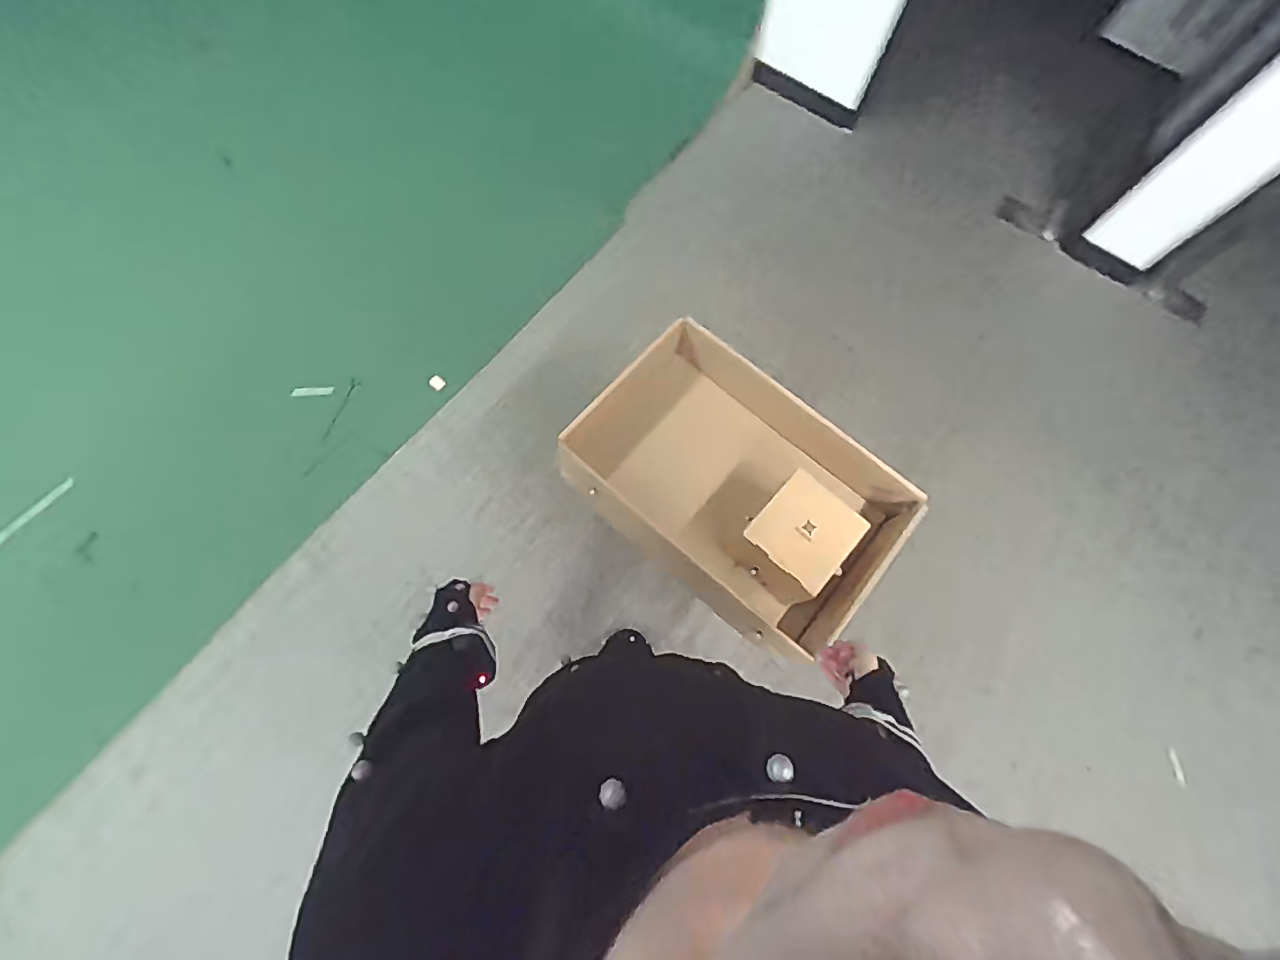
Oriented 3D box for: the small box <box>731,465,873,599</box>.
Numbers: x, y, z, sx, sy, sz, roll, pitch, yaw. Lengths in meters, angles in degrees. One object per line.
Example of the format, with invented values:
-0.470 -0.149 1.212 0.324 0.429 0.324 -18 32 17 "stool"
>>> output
0.297 0.106 1.033 0.168 0.176 0.179 42 75 10 "small box"
